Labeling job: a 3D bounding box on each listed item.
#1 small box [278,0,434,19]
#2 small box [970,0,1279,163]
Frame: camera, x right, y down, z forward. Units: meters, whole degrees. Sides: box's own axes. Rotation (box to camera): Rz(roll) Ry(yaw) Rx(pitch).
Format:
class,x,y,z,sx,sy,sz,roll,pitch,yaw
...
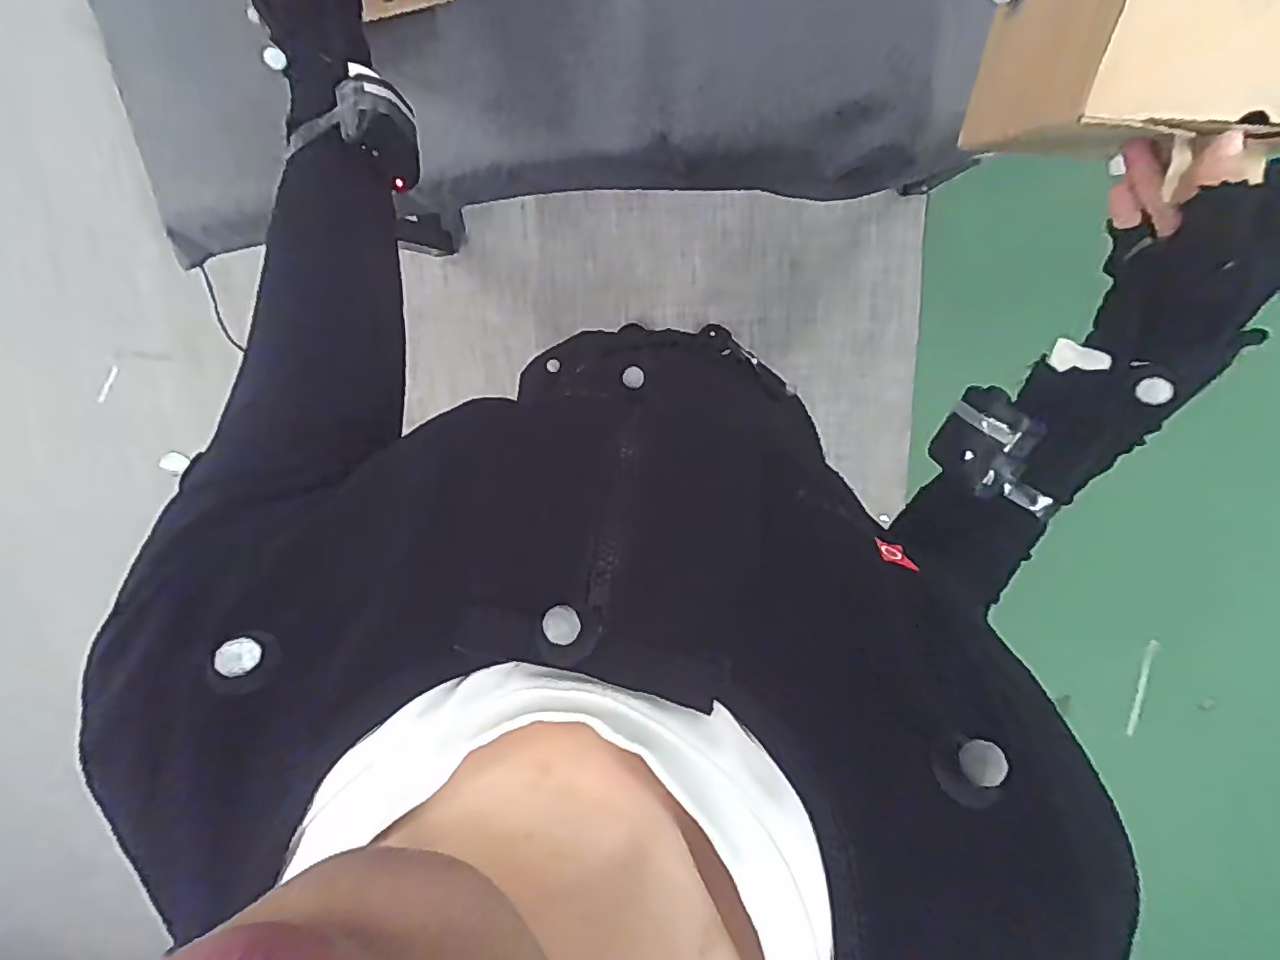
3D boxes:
class,x,y,z,sx,sy,sz,roll,pitch,yaw
small box,-0.286,-0.542,0.460,0.168,0.176,0.179,-10,100,3
small box,0.322,-0.287,0.306,0.168,0.176,0.179,7,118,4
